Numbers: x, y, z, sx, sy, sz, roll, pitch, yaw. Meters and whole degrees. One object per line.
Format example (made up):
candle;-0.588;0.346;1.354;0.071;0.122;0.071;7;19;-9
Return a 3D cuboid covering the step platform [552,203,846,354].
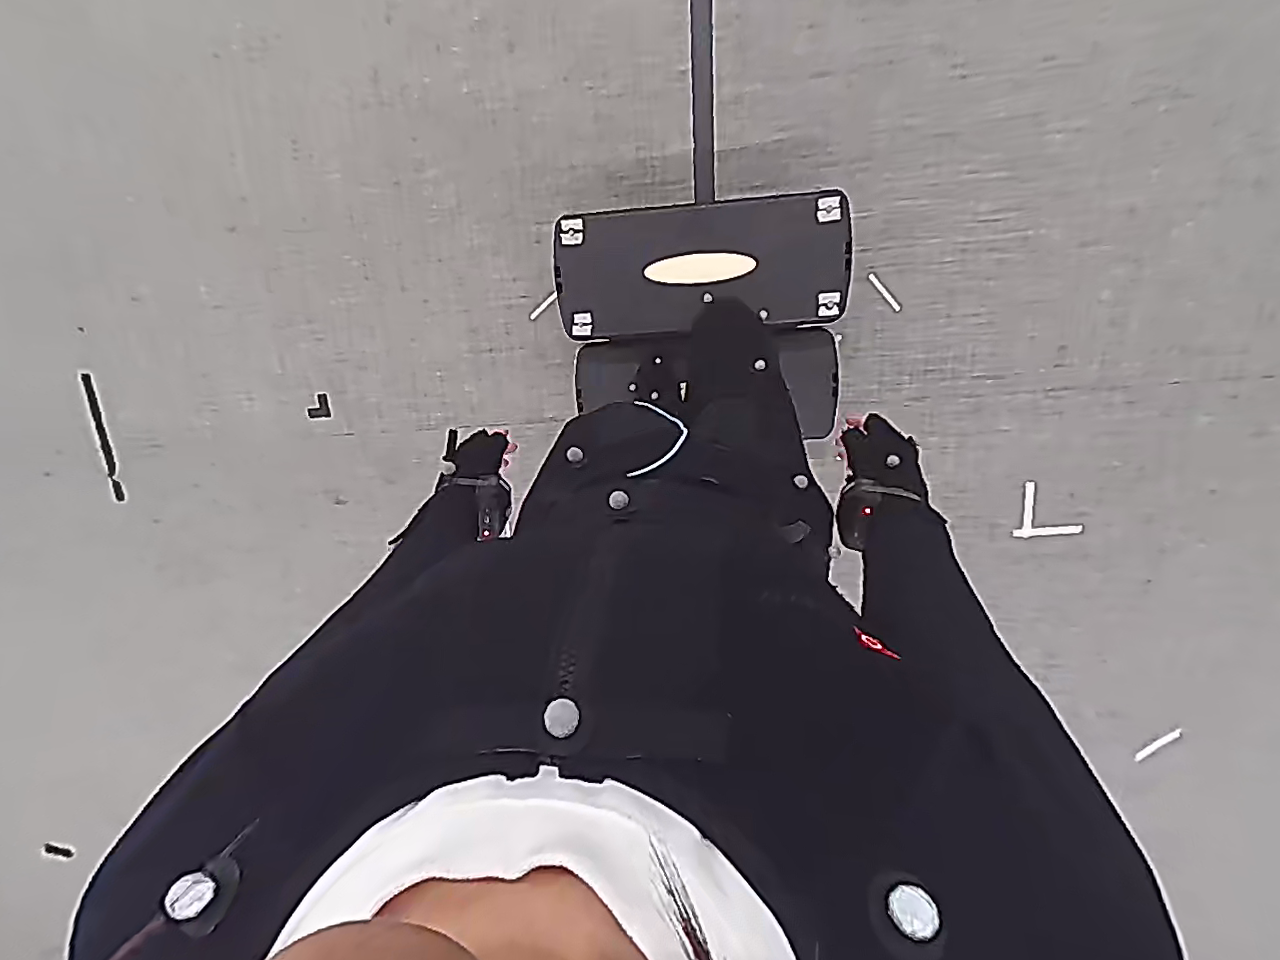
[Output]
step platform;0.133;-0.474;1.308;0.684;0.204;0.286;-4;105;5
